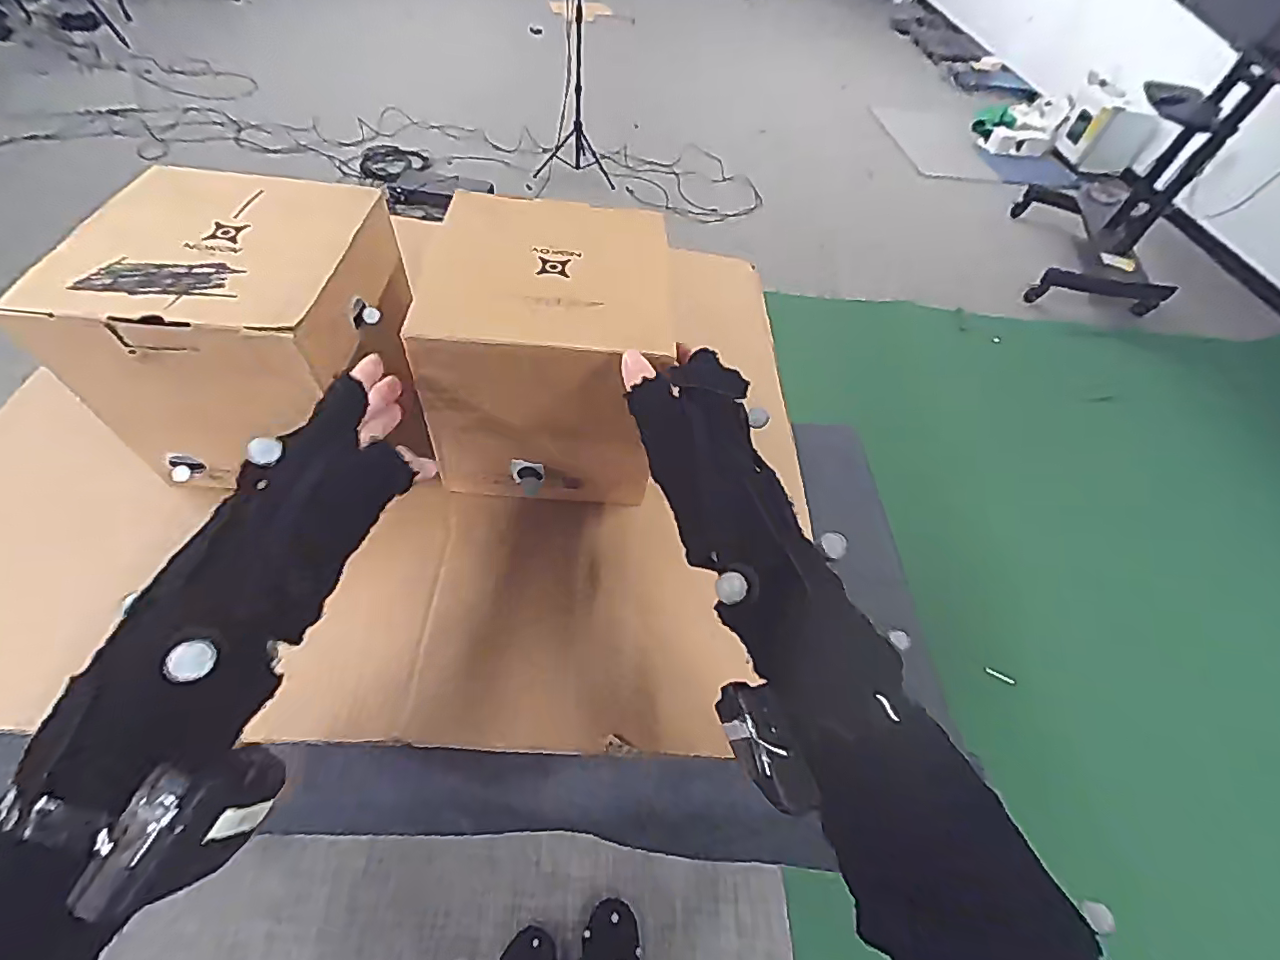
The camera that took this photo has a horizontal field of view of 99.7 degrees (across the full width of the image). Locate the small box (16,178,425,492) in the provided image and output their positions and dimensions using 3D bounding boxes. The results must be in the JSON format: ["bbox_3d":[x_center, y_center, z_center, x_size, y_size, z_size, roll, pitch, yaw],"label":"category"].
[{"bbox_3d":[-0.287,-0.107,0.430,0.168,0.176,0.179,4,53,-4],"label":"small box"}]
